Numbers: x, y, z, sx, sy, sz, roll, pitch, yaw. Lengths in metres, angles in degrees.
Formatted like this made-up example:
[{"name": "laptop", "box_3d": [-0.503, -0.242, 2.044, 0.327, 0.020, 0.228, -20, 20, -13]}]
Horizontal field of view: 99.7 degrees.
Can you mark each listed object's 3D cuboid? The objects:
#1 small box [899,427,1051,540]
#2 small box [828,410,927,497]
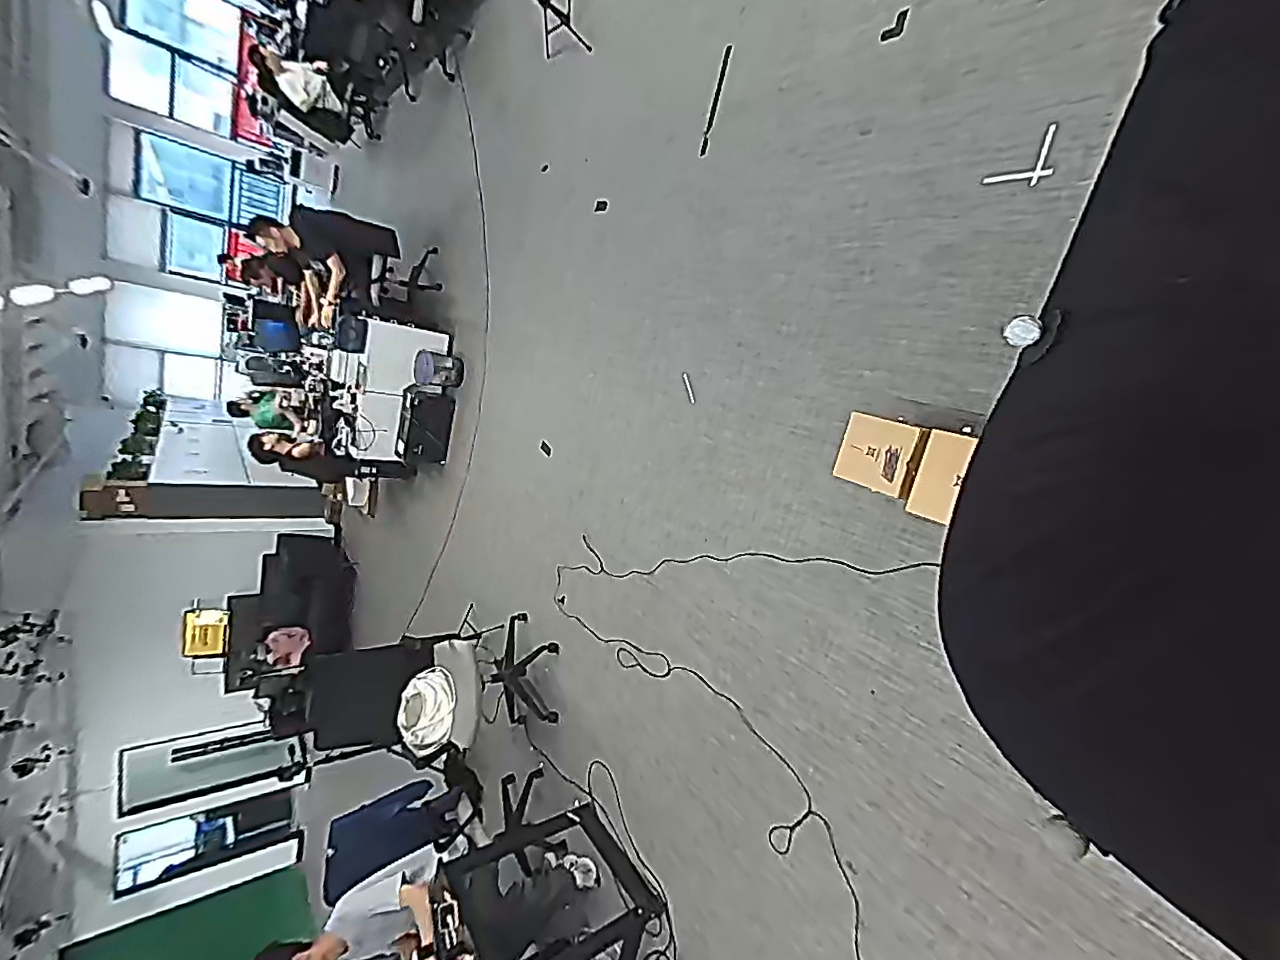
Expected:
[{"name": "small box", "box_3d": [0.634, 0.006, 1.024, 0.179, 0.176, 0.168, 26, 108, 45]}, {"name": "small box", "box_3d": [0.602, -0.064, 1.320, 0.179, 0.176, 0.168, 29, 110, 48]}]
